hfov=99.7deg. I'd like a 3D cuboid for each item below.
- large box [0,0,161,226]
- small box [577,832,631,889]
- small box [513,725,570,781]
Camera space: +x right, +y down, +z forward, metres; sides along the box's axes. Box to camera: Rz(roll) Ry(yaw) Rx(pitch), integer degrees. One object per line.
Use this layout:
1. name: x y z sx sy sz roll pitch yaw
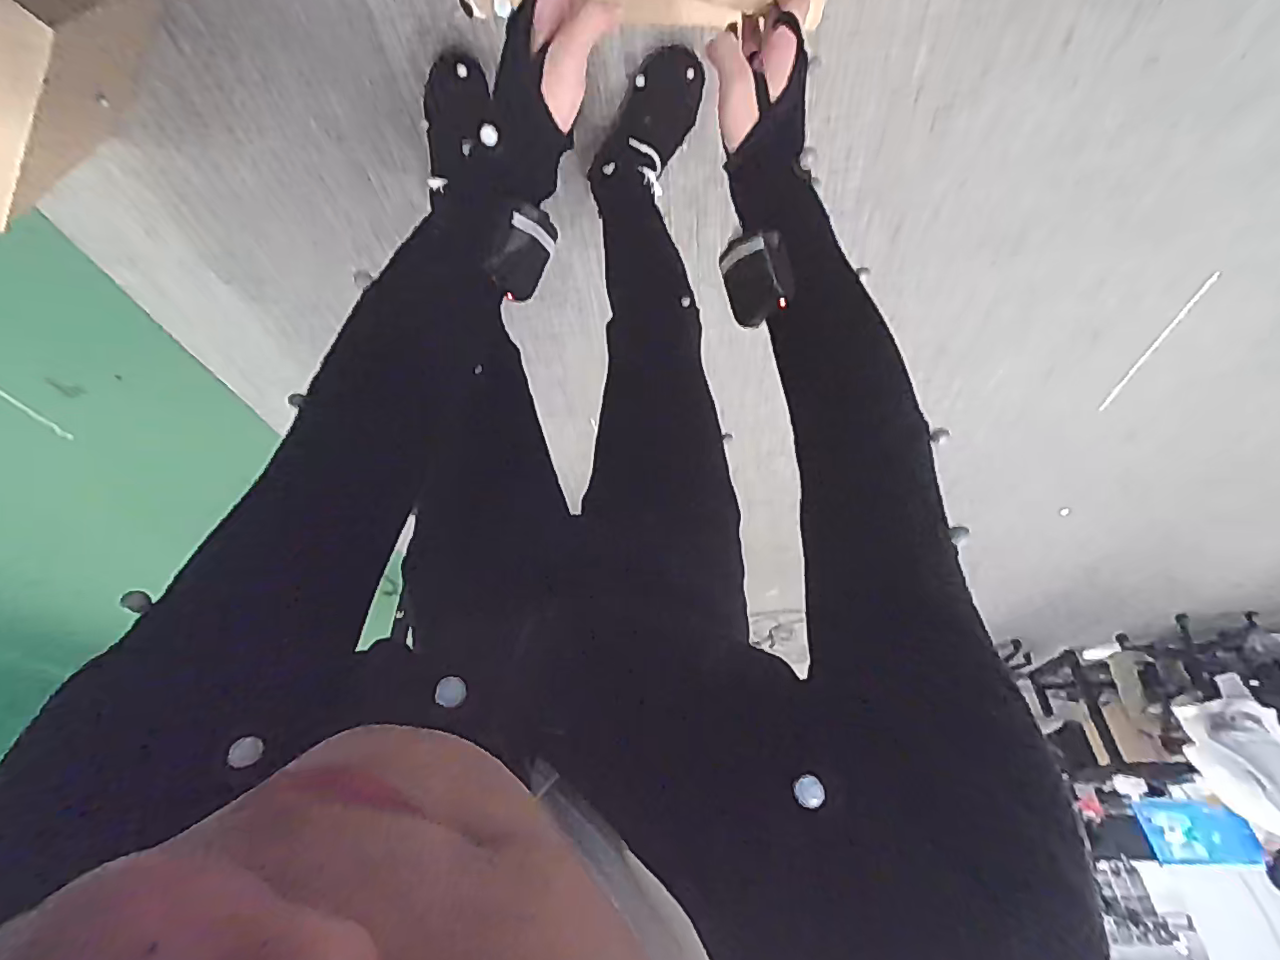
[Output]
1. large box: -0.909 -0.646 0.708 0.408 0.320 0.320 -23 139 33
2. small box: -0.127 1.374 1.960 0.168 0.176 0.179 -4 146 7
3. small box: -0.355 0.996 1.973 0.168 0.176 0.179 -3 147 5
